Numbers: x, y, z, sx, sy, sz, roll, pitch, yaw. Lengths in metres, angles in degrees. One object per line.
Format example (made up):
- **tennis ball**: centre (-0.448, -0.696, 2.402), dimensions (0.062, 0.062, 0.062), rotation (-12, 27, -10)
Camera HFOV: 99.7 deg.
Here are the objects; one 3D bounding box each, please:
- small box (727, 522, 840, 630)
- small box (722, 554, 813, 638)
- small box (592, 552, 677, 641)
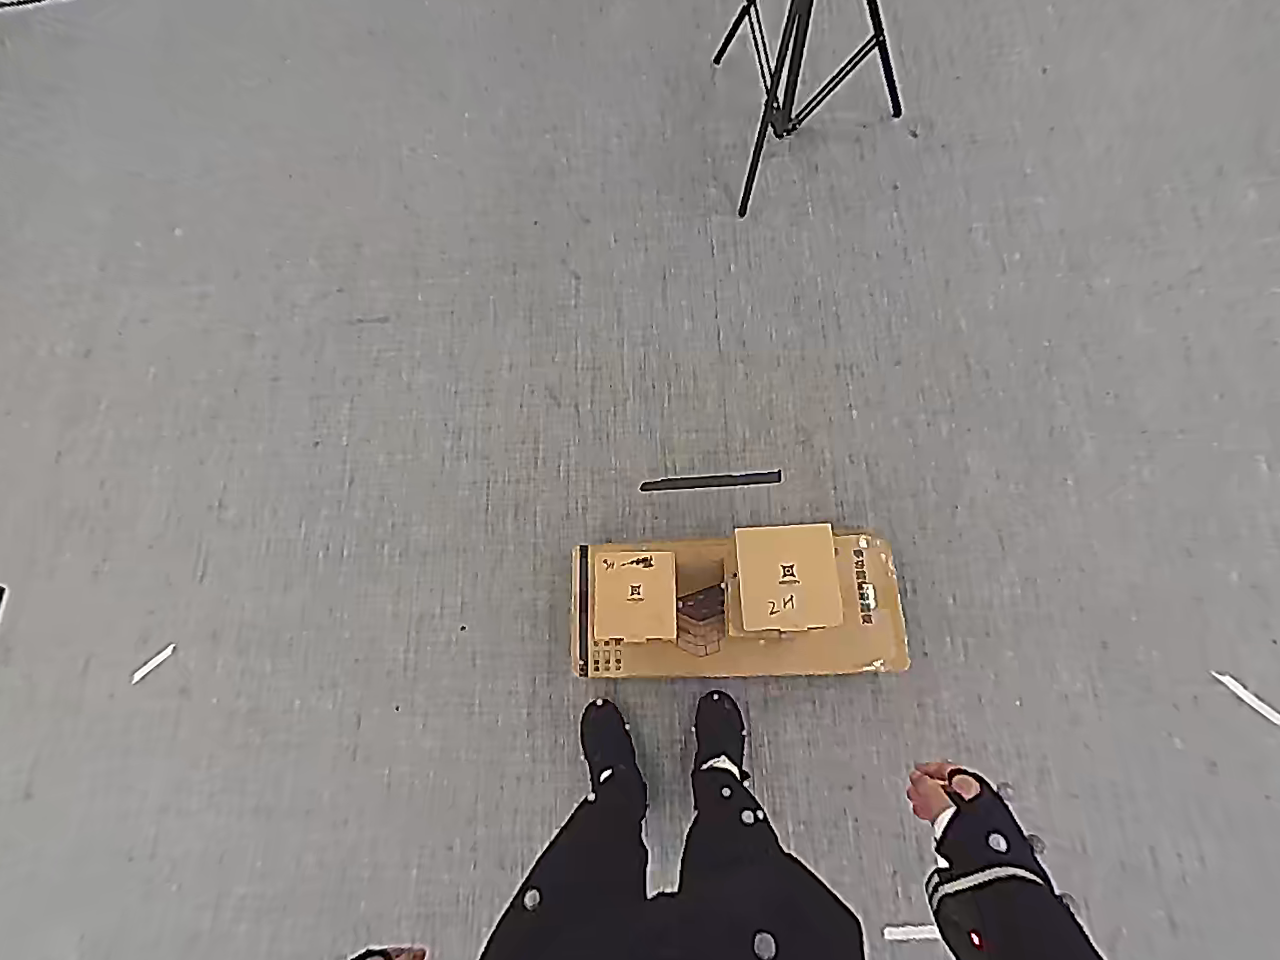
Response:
- **small box**: centre (0.252, 0.181, 0.989), dimensions (0.168, 0.176, 0.179), rotation (-4, 74, 5)
- **small box**: centre (0.262, 0.239, 1.145), dimensions (0.168, 0.176, 0.179), rotation (0, 76, 6)
- **small box**: centre (-0.007, 0.251, 1.163), dimensions (0.168, 0.176, 0.179), rotation (-2, 76, 6)
